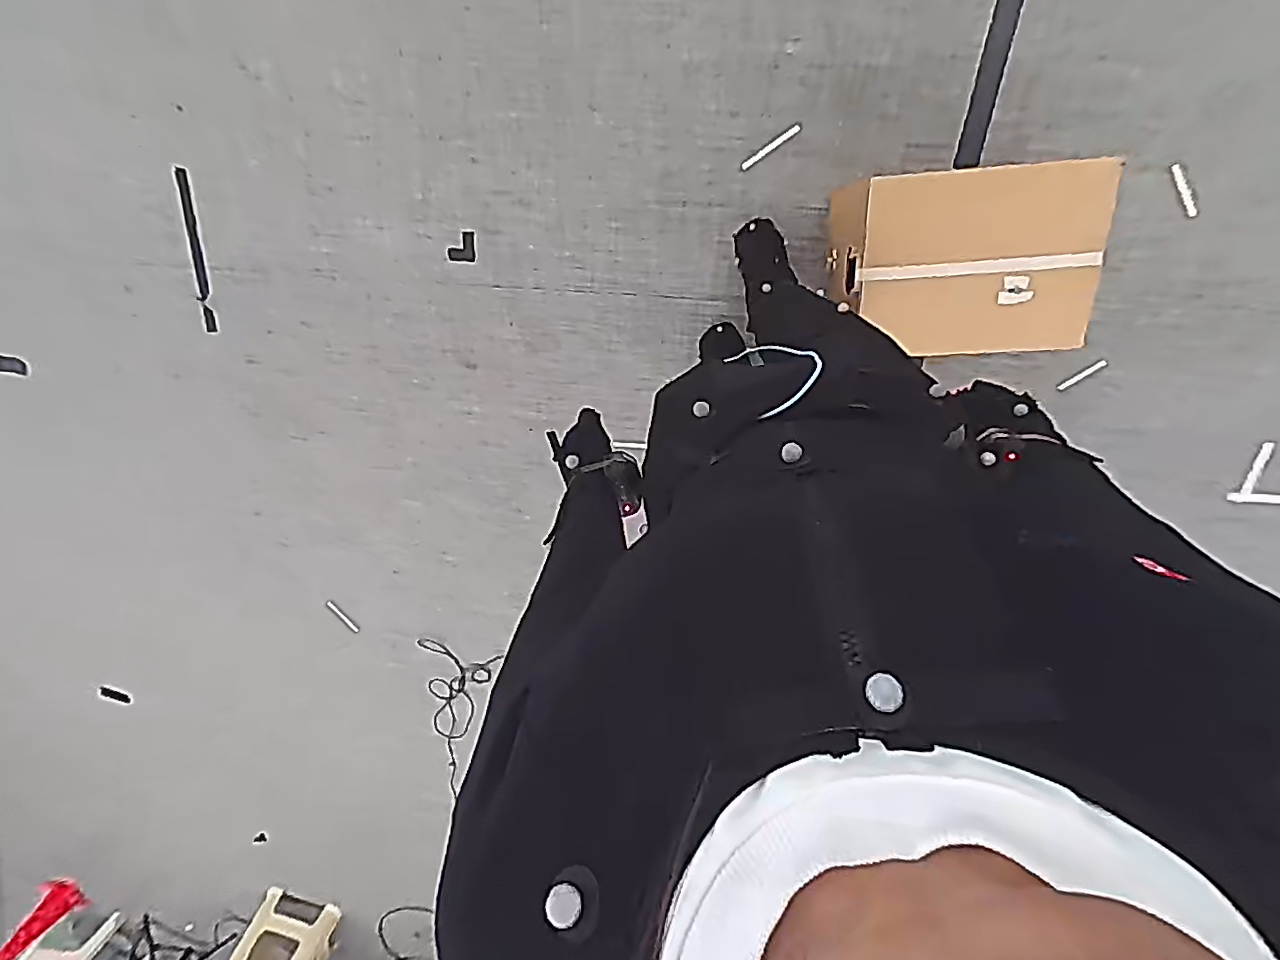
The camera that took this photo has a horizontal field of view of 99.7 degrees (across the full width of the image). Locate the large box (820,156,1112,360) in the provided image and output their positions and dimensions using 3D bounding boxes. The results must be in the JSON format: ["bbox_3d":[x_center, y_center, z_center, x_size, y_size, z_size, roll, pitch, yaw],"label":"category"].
[{"bbox_3d":[0.605,-0.437,1.102,0.408,0.320,0.320,-2,113,6],"label":"large box"}]
